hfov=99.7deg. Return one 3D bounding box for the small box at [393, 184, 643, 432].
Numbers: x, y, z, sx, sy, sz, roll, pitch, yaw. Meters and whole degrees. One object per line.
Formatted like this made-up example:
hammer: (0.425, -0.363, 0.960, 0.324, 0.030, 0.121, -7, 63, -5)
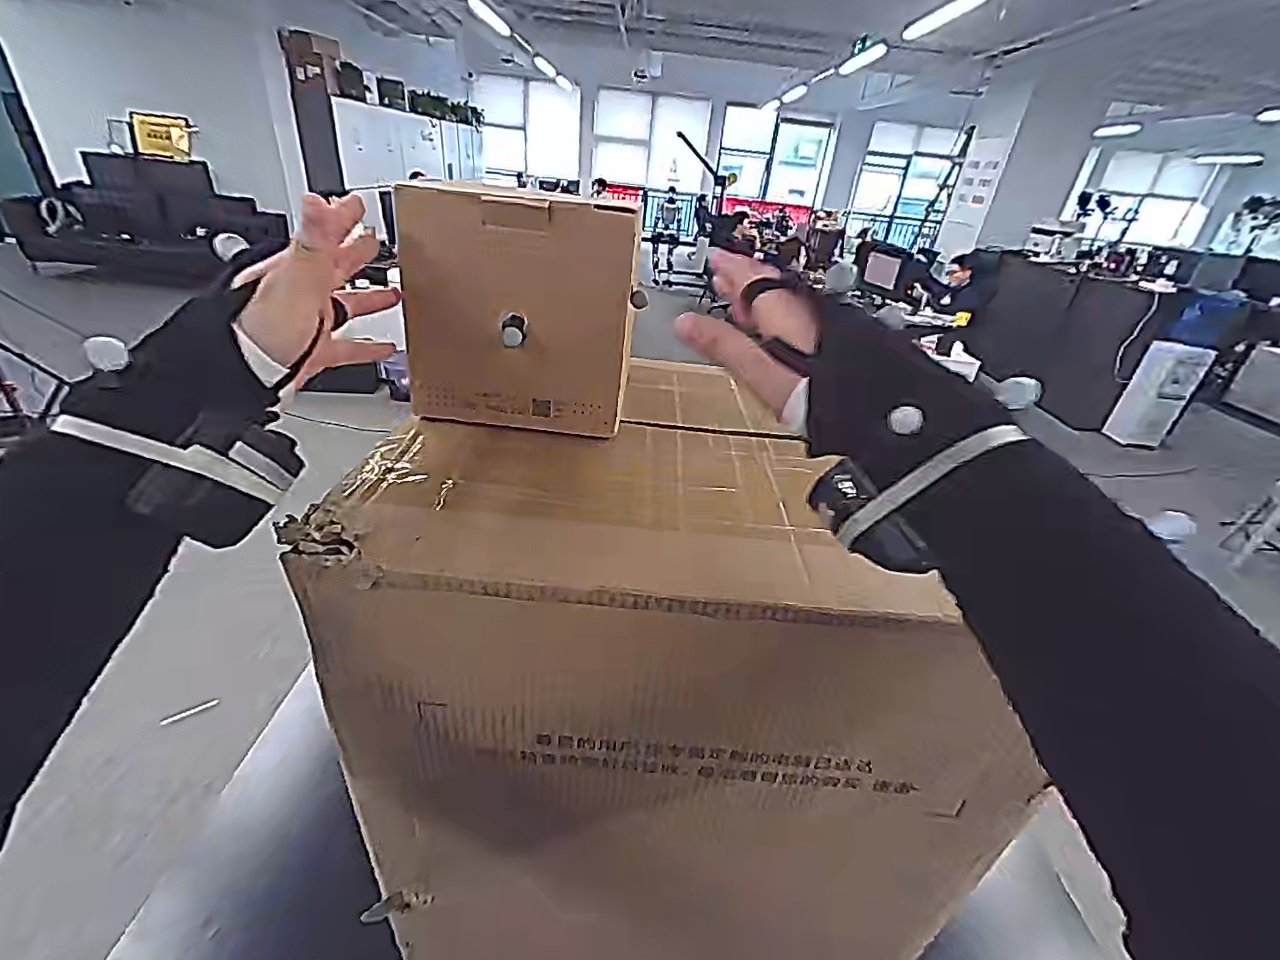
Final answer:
small box: (-0.089, -0.153, 0.471, 0.168, 0.176, 0.179, 6, 29, -2)
